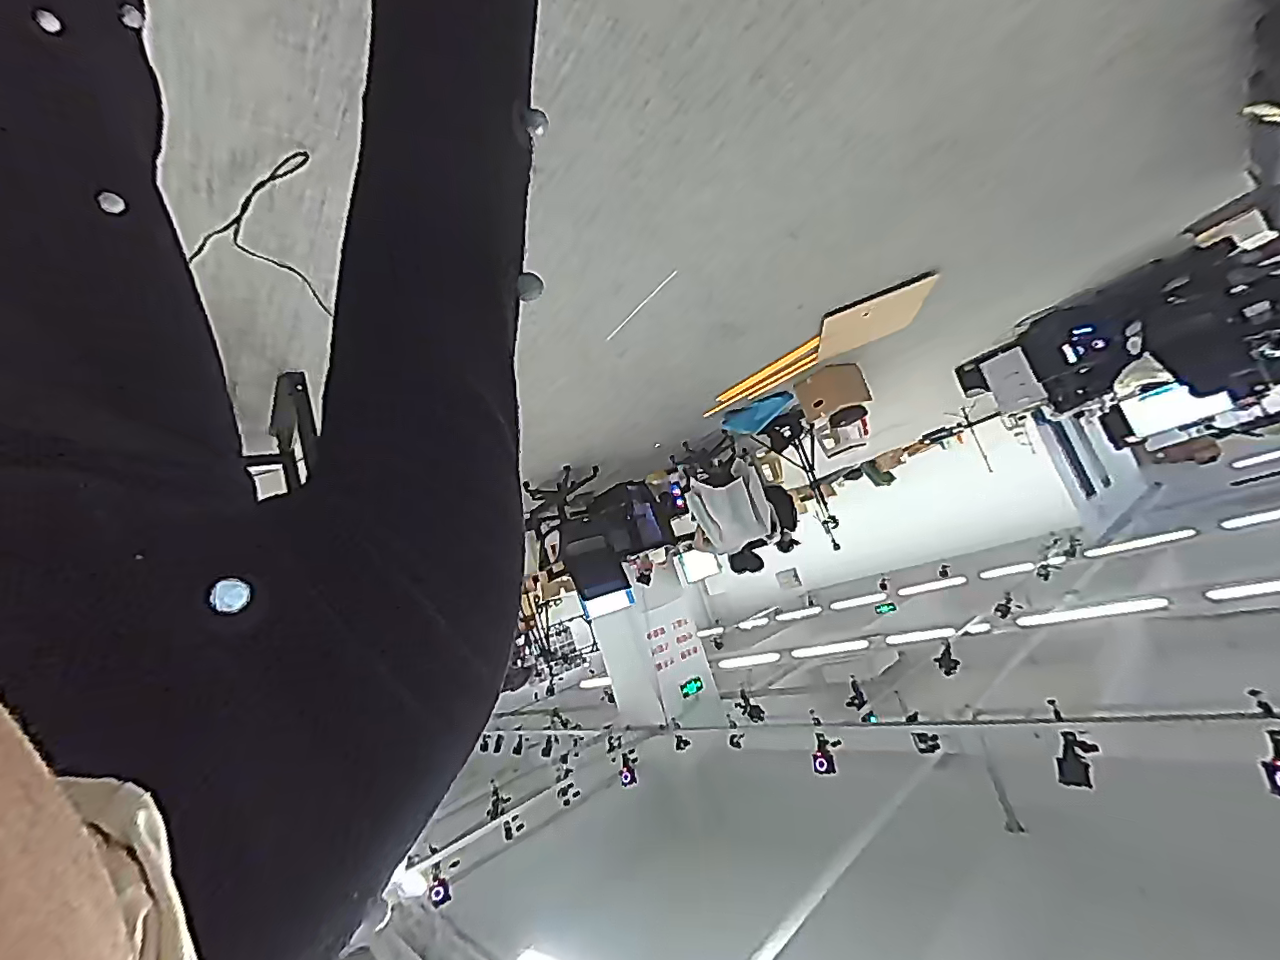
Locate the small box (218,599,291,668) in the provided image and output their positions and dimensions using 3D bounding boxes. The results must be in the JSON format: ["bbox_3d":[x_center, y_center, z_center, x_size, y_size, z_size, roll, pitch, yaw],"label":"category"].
[{"bbox_3d":[-1.236,0.490,1.730,0.168,0.176,0.179,-9,165,-40],"label":"small box"}]

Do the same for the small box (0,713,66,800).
[{"bbox_3d":[-1.574,0.697,1.348,0.168,0.176,0.179,-8,164,-40],"label":"small box"}]
